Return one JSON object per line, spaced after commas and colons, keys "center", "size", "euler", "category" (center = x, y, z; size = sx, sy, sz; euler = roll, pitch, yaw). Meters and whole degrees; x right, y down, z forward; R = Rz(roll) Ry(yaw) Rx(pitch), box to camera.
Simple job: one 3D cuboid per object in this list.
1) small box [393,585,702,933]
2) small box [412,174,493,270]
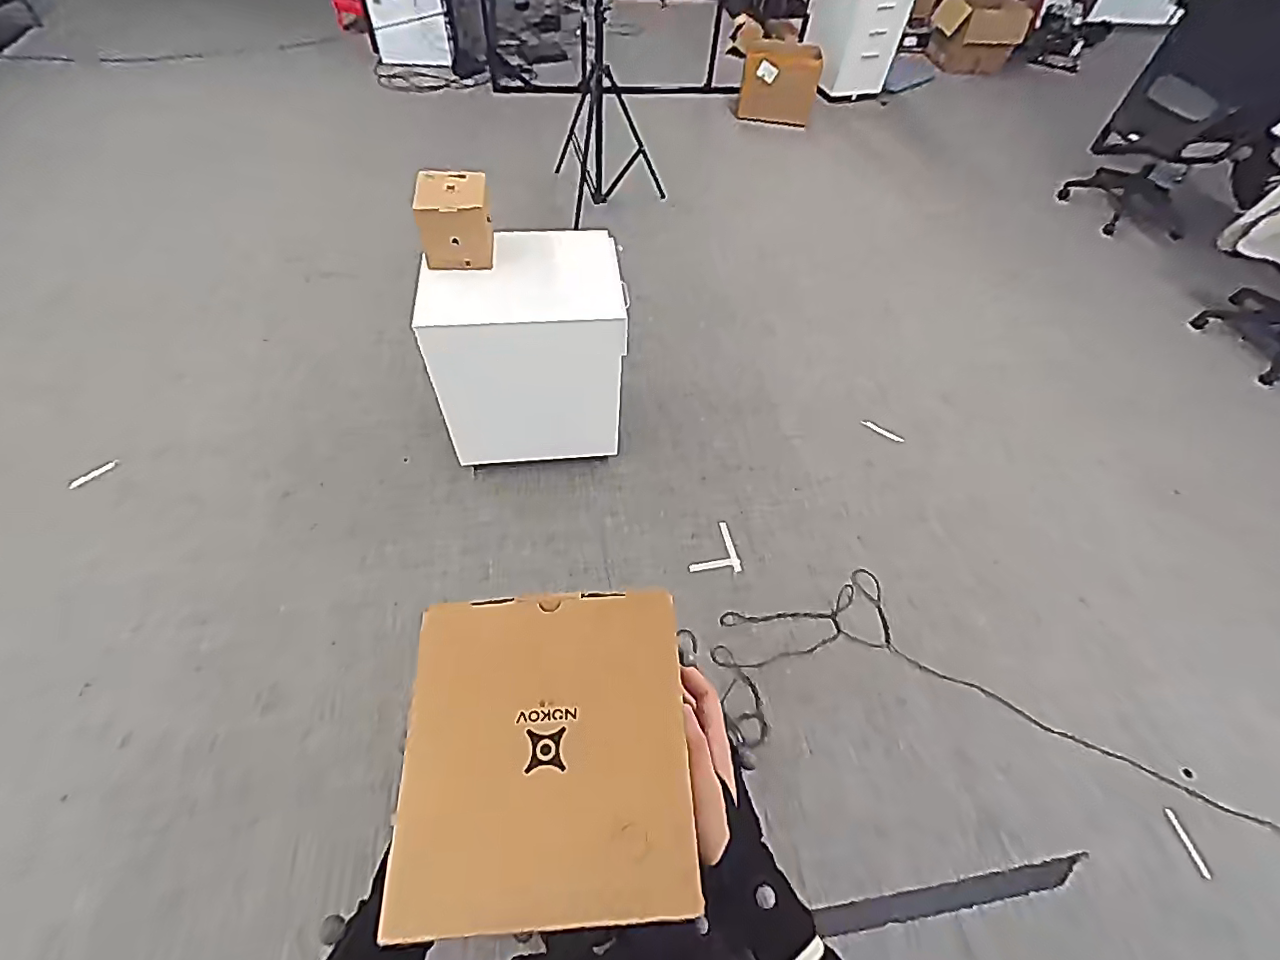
{"center": [-0.051, 0.191, 0.388], "size": [0.168, 0.176, 0.179], "euler": [-4, 59, -2], "category": "small box"}
{"center": [-0.475, -0.662, 1.398], "size": [0.168, 0.176, 0.179], "euler": [-4, 57, -8], "category": "small box"}
